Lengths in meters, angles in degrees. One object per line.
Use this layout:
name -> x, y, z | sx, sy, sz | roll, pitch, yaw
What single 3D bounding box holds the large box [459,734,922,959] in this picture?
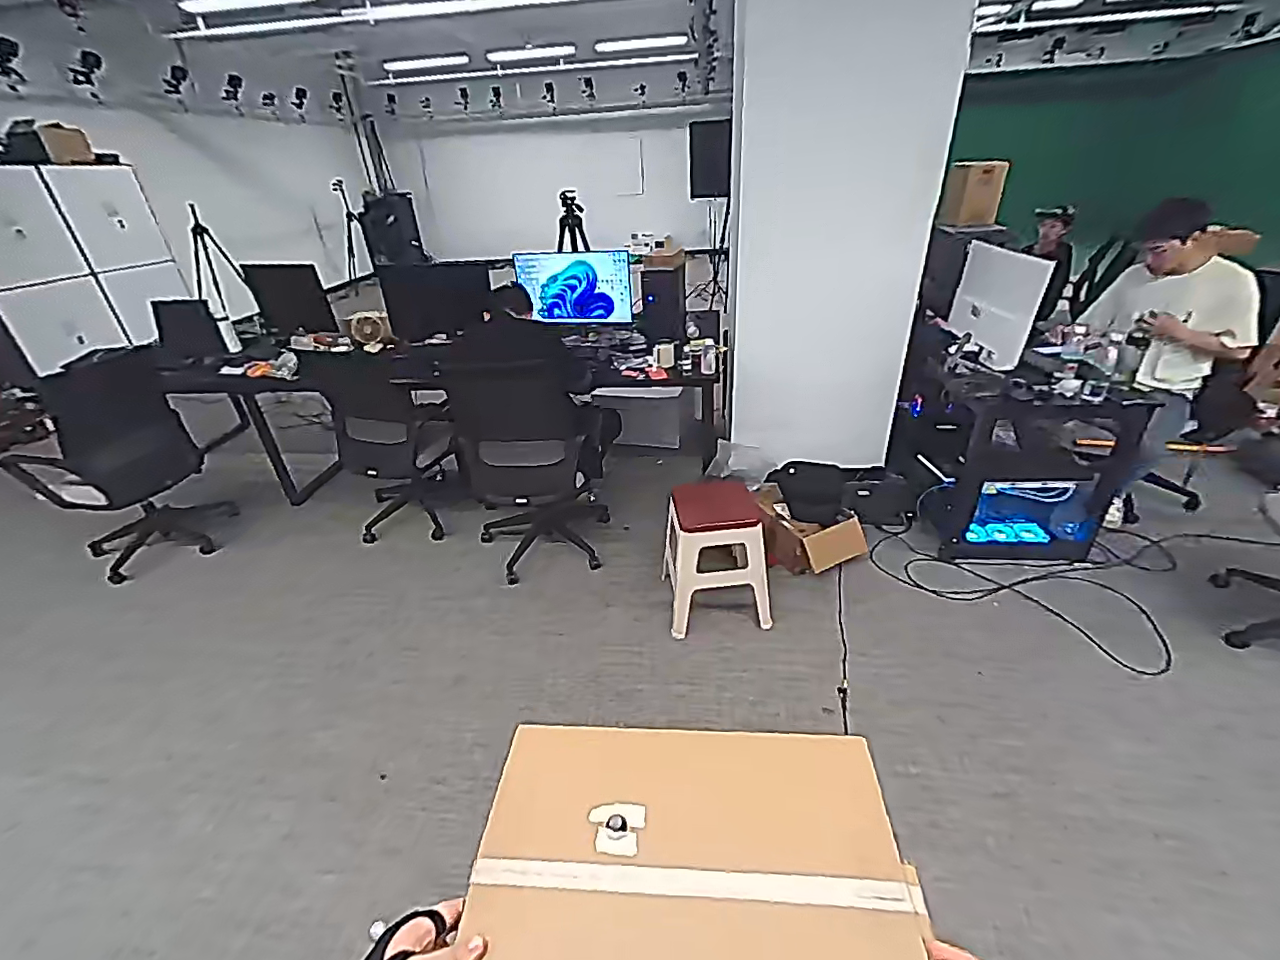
large box -> 0.058, 0.507, 0.585 | 0.408, 0.320, 0.320 | -3, 30, 7
